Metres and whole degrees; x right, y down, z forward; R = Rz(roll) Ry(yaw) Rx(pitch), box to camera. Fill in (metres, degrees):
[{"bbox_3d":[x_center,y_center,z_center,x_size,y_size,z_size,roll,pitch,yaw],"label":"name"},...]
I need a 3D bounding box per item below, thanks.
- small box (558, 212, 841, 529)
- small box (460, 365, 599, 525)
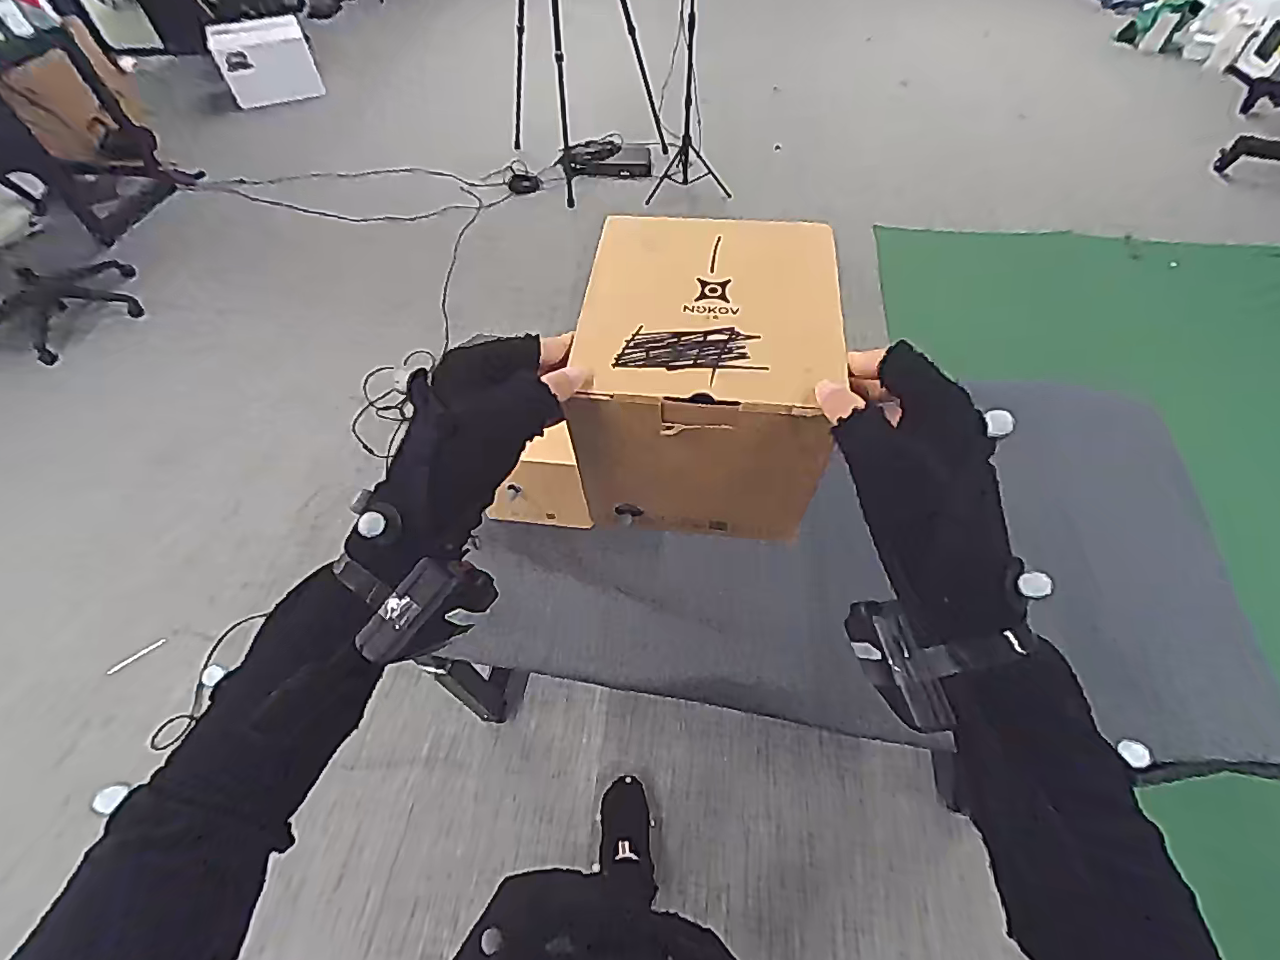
[{"bbox_3d":[0.047,-0.077,0.416,0.168,0.176,0.179,5,58,6],"label":"small box"},{"bbox_3d":[-0.144,-0.048,0.815,0.168,0.176,0.179,5,54,6],"label":"small box"}]
